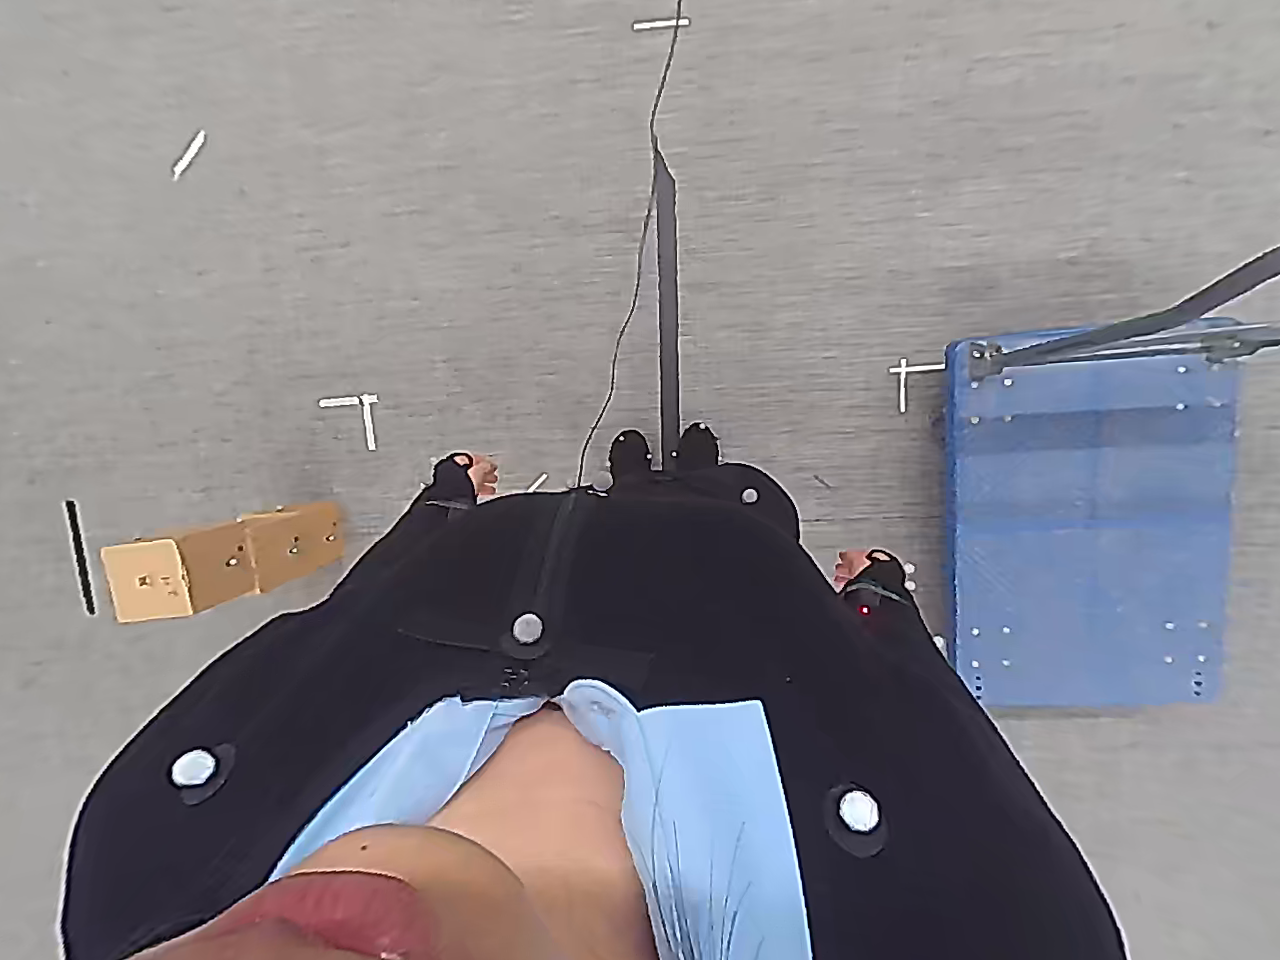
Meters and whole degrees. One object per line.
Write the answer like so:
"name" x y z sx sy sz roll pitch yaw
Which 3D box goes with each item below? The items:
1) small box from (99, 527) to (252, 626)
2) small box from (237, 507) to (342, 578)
"small box" -1.003 0.204 1.181 0.179 0.176 0.168 -7 97 4
"small box" -0.970 0.170 1.508 0.179 0.176 0.168 -3 96 5
